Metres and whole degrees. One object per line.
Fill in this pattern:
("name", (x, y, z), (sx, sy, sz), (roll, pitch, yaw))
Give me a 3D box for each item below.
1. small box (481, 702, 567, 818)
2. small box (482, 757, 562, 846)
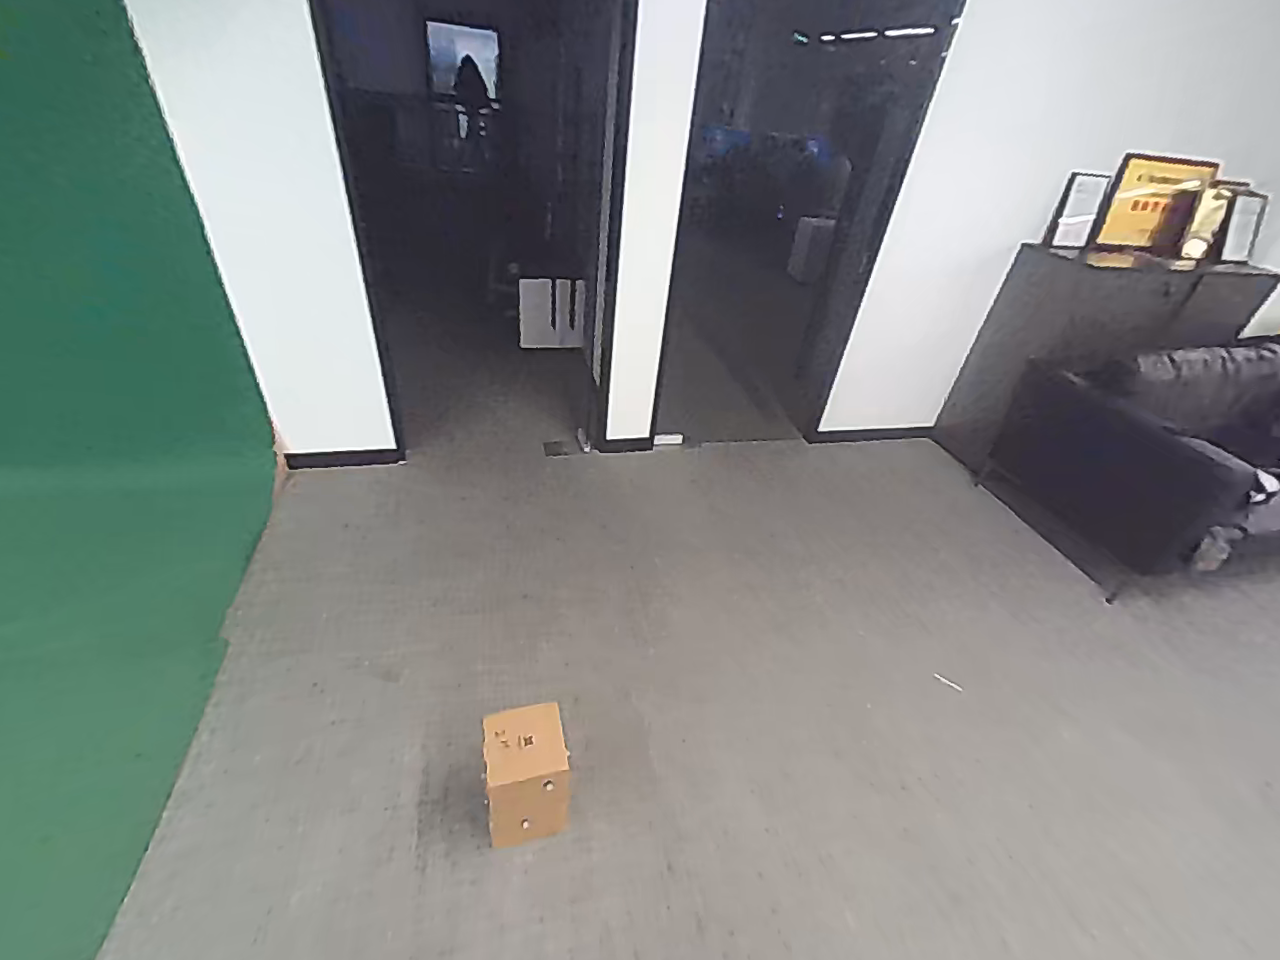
("small box", (-0.271, 0.649, 1.254), (0.179, 0.176, 0.168), (-6, 39, -16))
("small box", (-0.296, 0.779, 1.353), (0.179, 0.176, 0.168), (-6, 40, -17))
